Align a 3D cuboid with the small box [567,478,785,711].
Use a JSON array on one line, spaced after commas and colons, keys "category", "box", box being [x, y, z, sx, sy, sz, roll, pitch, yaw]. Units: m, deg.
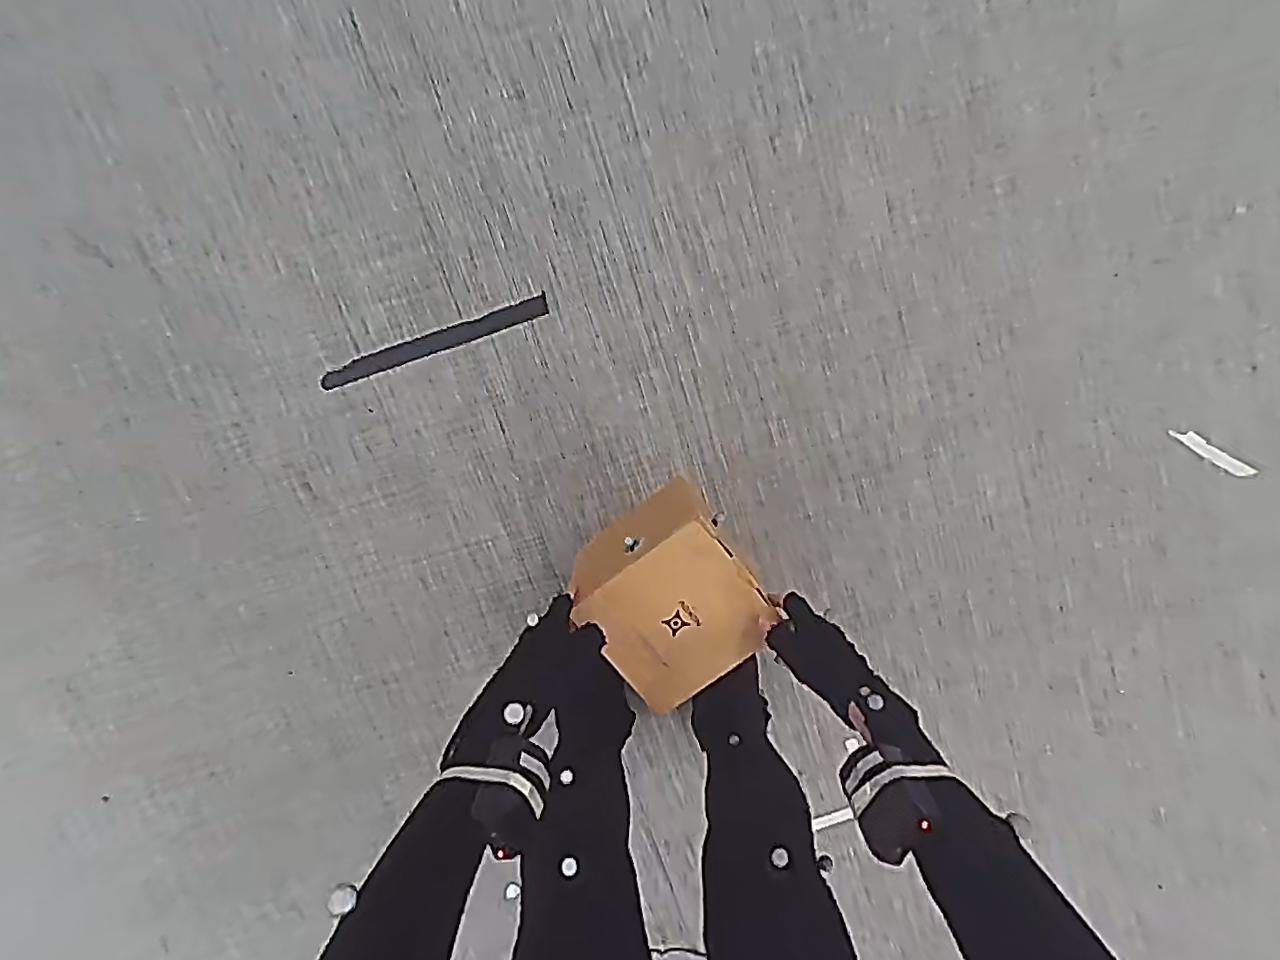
[{"category": "small box", "box": [0.034, 0.121, 0.638, 0.179, 0.176, 0.168, -38, 102, 7]}]
